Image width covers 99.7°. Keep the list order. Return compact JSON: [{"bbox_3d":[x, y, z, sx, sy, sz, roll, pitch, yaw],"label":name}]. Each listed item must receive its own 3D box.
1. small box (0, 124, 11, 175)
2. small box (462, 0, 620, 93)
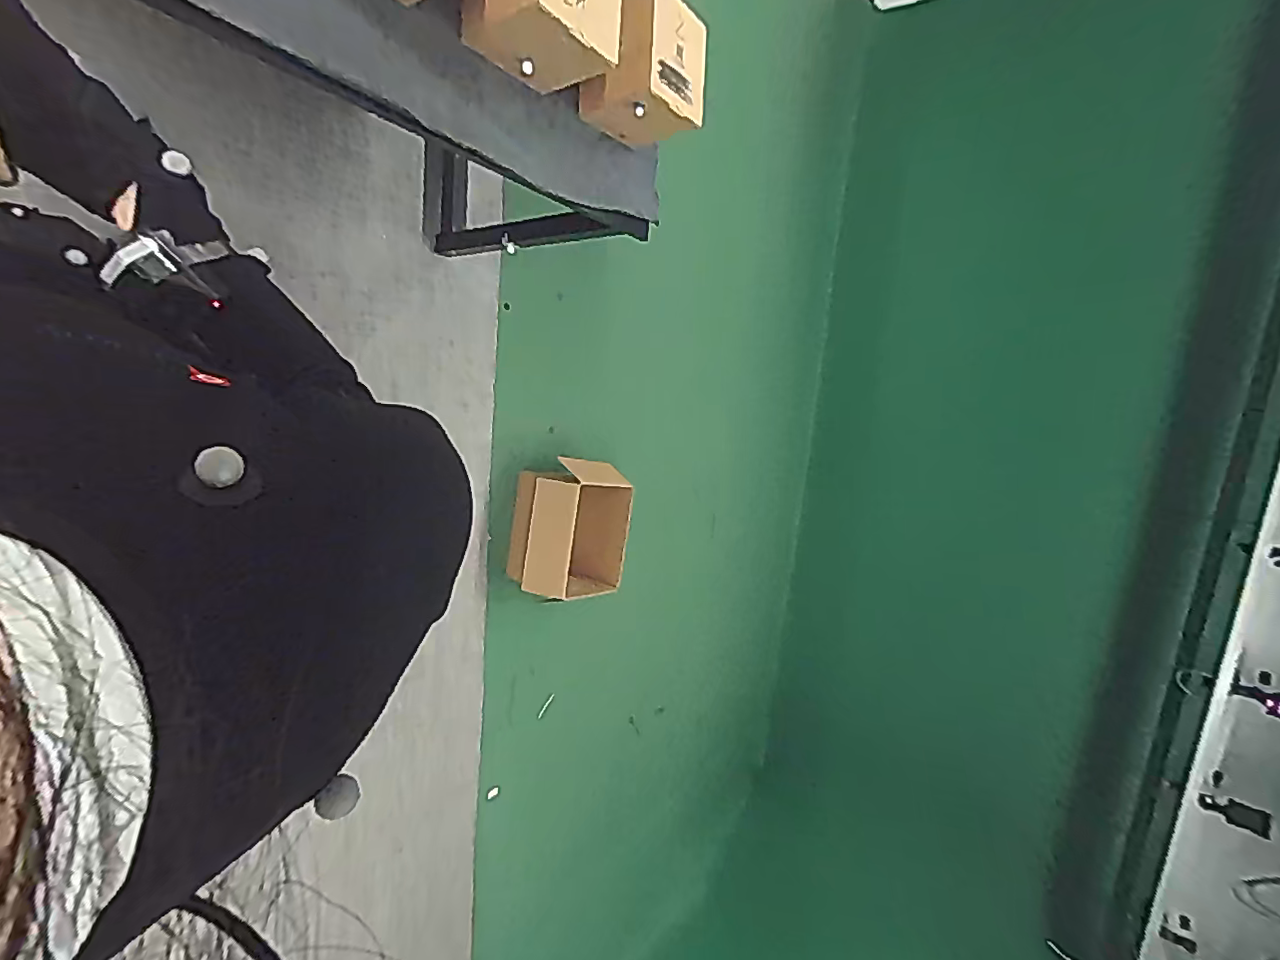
[{"bbox_3d":[-0.421,-0.239,0.228,0.168,0.176,0.179,-17,121,-40],"label":"small box"},{"bbox_3d":[-0.145,-0.723,0.800,0.168,0.176,0.179,-8,106,-53],"label":"small box"}]
